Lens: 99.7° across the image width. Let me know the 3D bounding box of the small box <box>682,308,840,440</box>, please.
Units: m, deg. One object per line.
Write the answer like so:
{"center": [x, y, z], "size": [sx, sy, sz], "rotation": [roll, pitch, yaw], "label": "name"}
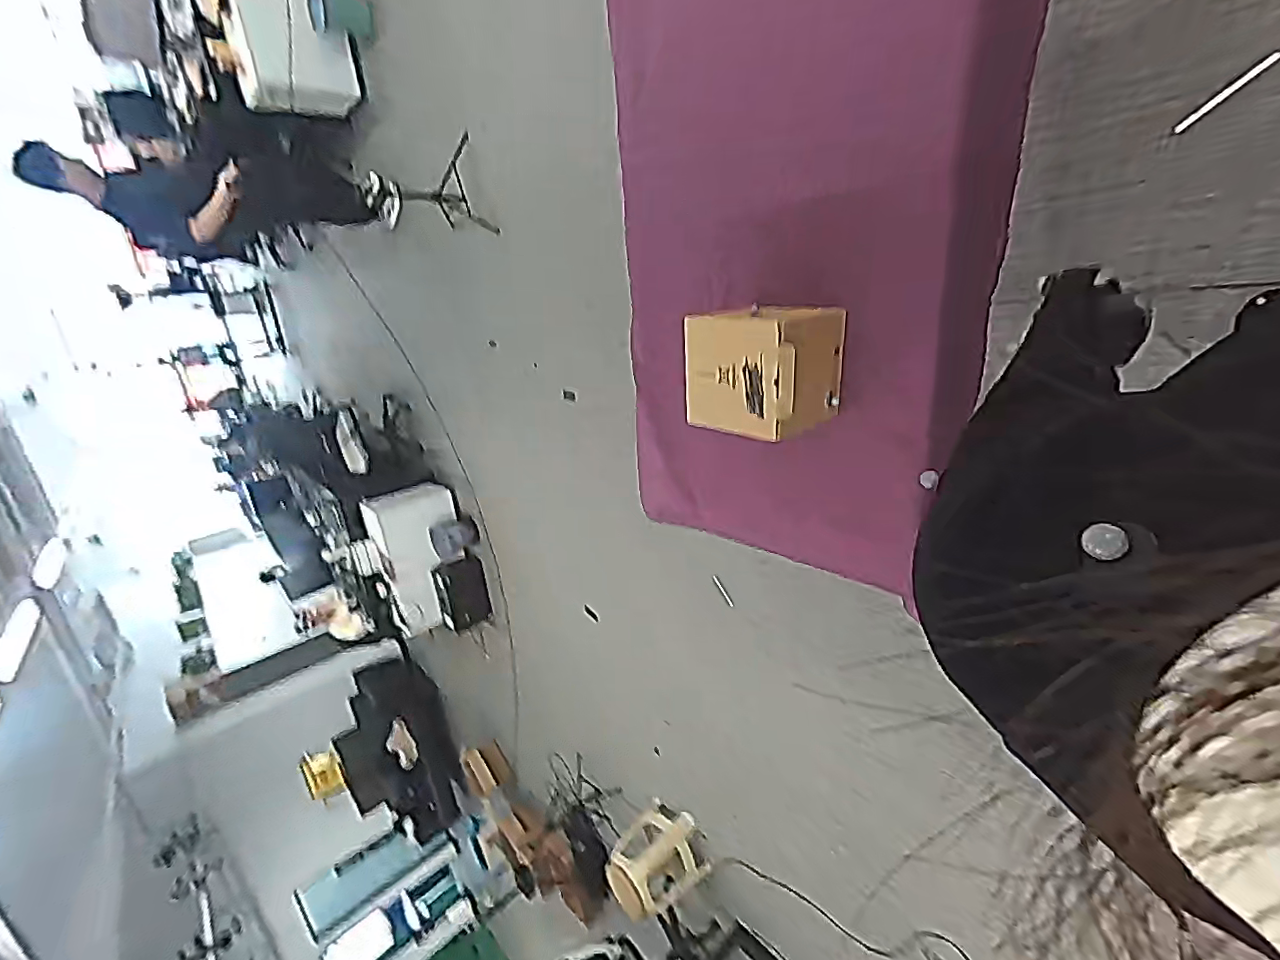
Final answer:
{"center": [0.187, -0.173, 0.834], "size": [0.179, 0.176, 0.168], "rotation": [19, 121, 45], "label": "small box"}
